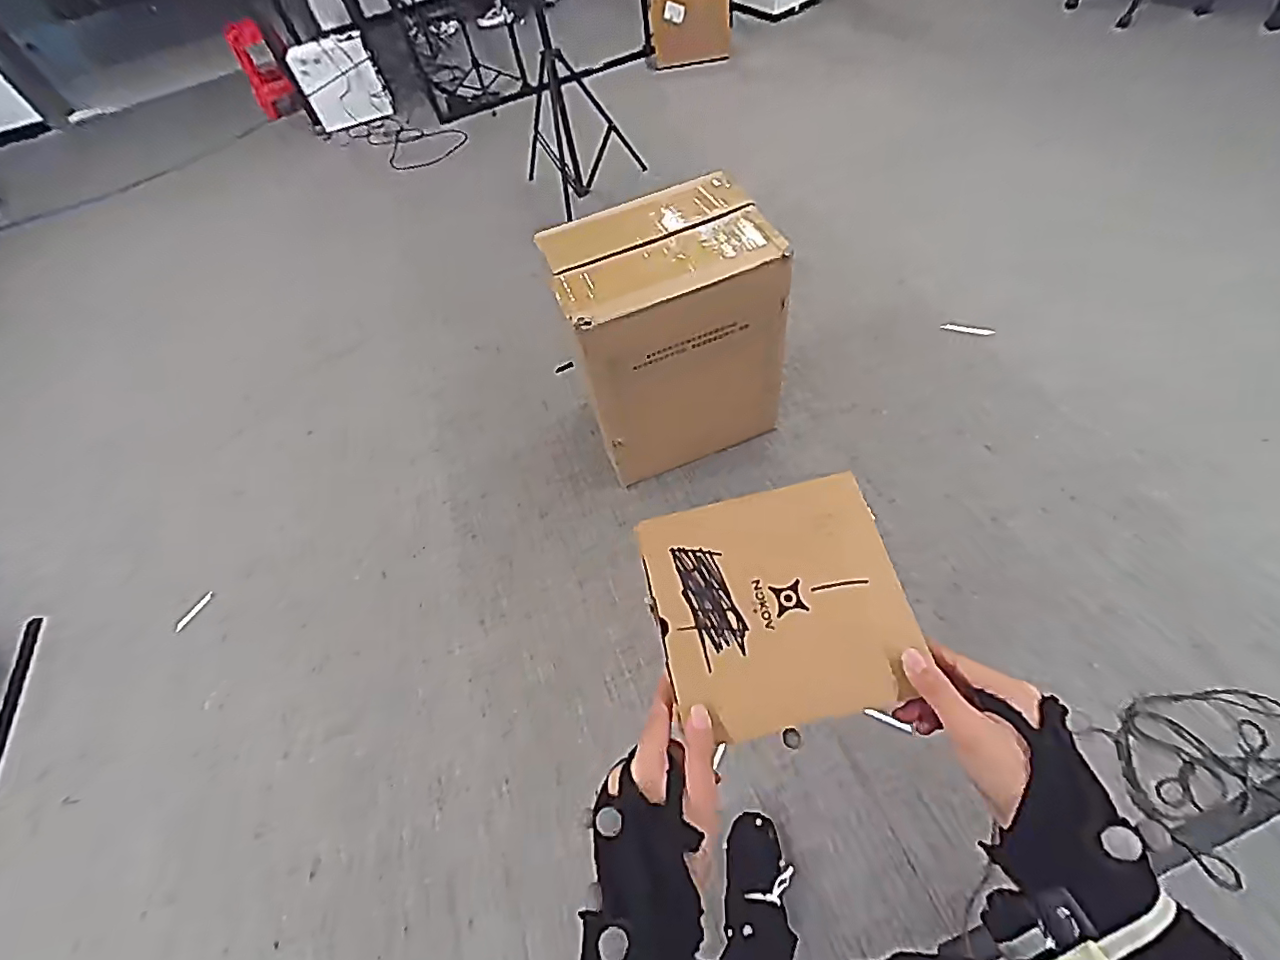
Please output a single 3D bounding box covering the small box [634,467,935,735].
[{"bbox_3d":[0.104,0.113,0.459,0.179,0.176,0.168,-13,65,0],"label":"small box"}]
